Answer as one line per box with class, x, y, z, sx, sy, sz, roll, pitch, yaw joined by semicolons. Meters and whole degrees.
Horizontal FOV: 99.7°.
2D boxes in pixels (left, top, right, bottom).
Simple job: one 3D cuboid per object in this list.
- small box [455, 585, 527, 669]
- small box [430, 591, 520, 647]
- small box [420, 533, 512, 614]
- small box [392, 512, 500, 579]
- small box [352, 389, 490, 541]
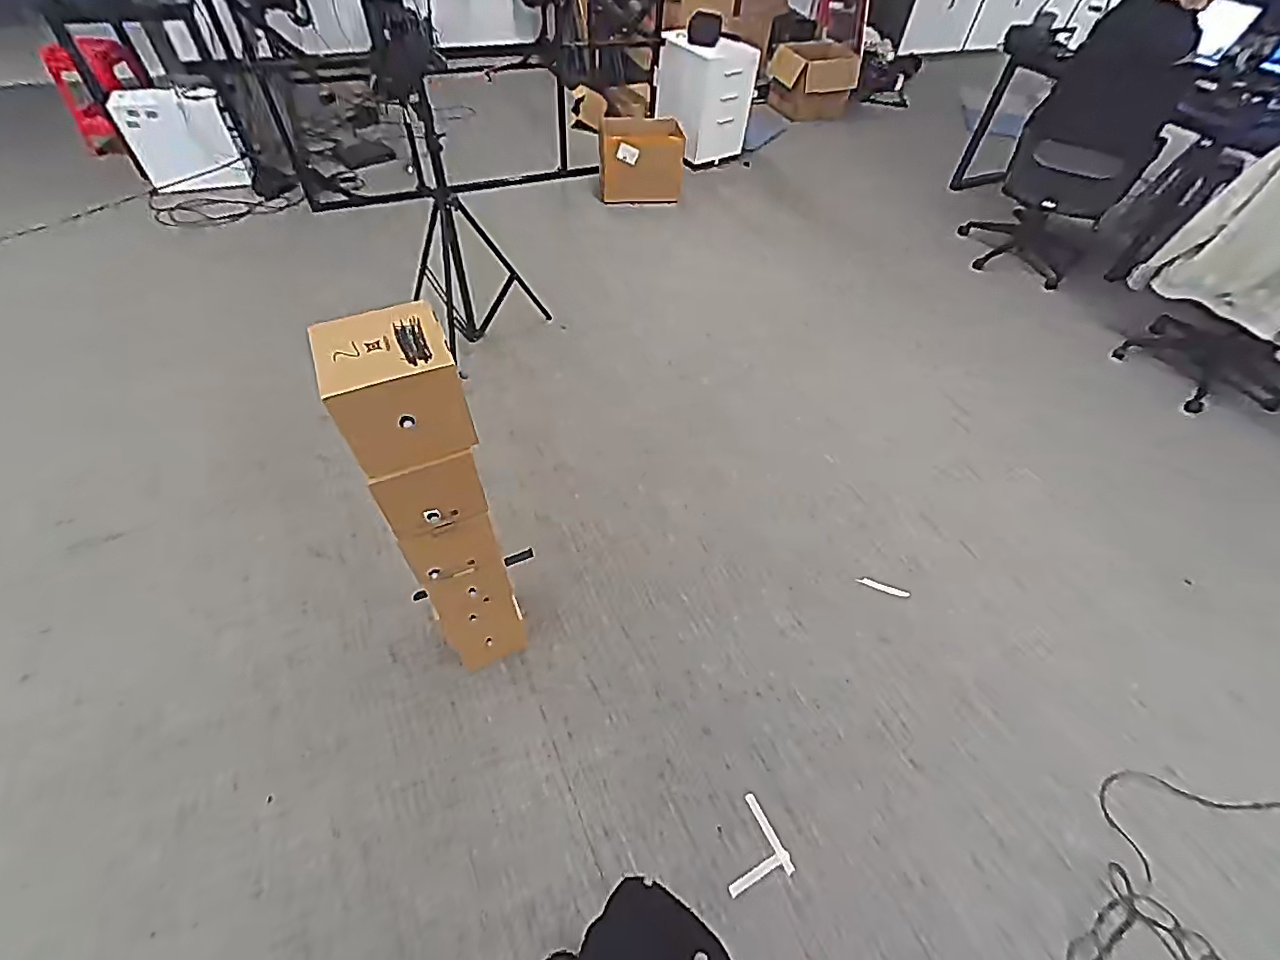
small box;-0.412;0.380;1.454;0.179;0.176;0.168;-19;56;-18
small box;-0.408;0.283;1.321;0.179;0.176;0.168;-17;56;-16
small box;-0.392;0.178;1.197;0.168;0.176;0.179;-17;56;-17
small box;-0.386;0.076;1.069;0.168;0.176;0.179;-18;55;-17
small box;-0.375;-0.025;0.943;0.168;0.176;0.179;-20;57;-17
